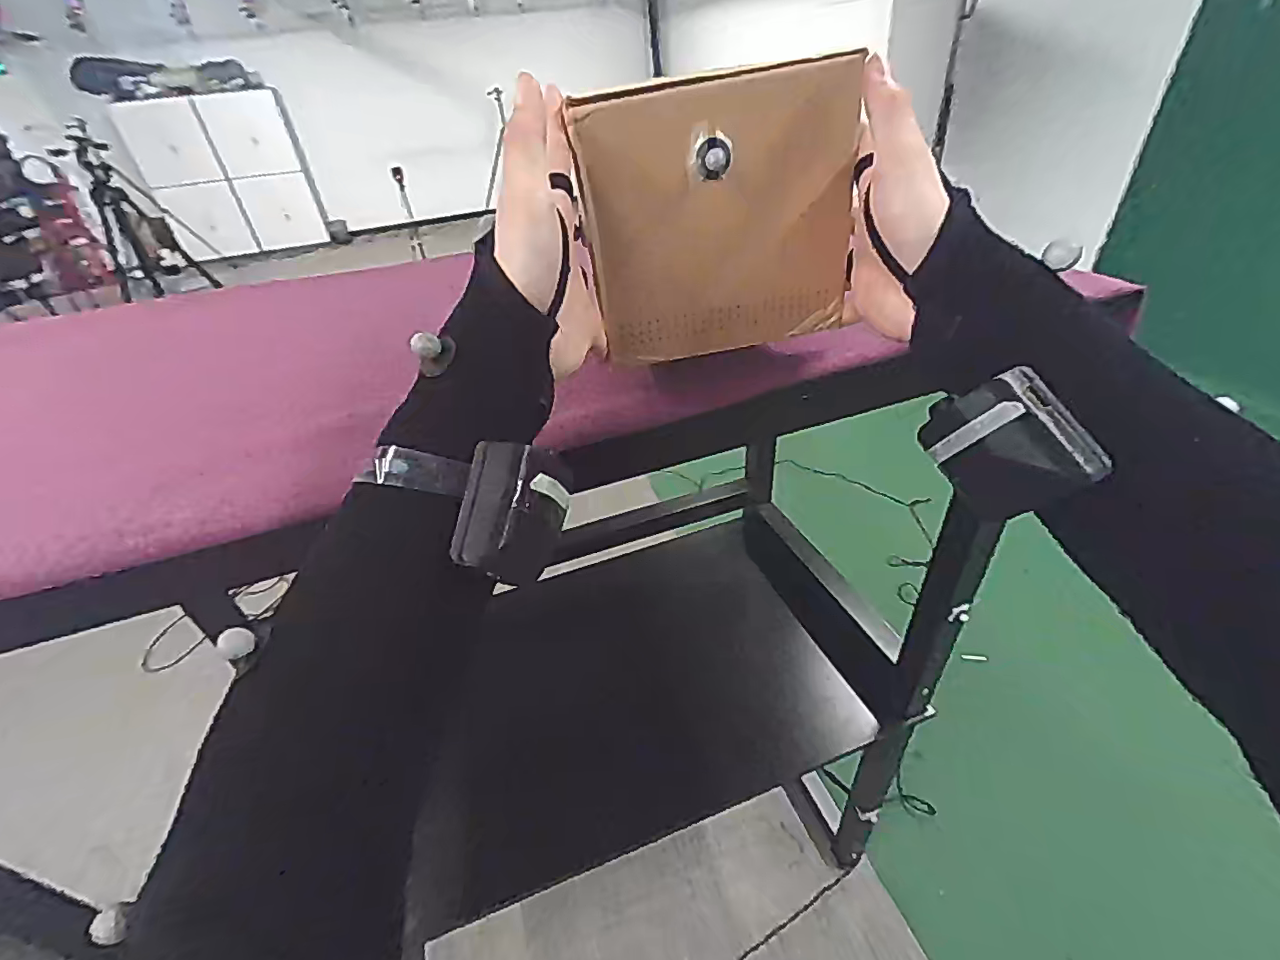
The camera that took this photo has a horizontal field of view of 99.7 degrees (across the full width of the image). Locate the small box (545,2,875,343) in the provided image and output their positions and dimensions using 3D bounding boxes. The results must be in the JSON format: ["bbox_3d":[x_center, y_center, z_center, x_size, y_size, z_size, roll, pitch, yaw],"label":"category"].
[{"bbox_3d":[0.040,-0.210,0.386,0.179,0.176,0.168,-8,38,0],"label":"small box"}]
